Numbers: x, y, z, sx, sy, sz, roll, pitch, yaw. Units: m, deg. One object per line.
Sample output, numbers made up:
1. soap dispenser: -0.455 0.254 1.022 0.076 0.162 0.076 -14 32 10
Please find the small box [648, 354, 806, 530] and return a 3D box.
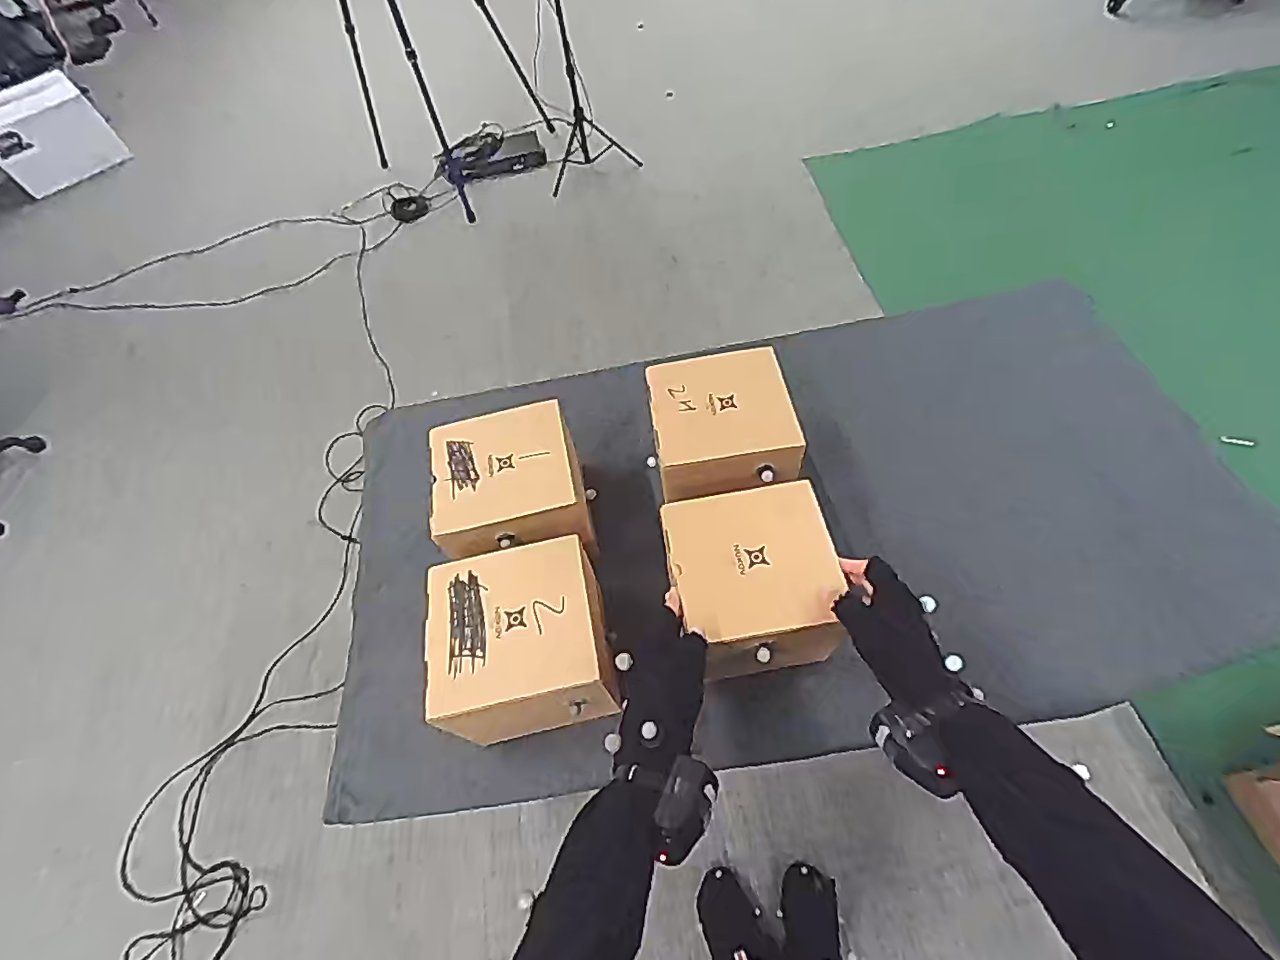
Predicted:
1. small box: 0.111 -0.047 0.750 0.179 0.176 0.168 -9 58 2
